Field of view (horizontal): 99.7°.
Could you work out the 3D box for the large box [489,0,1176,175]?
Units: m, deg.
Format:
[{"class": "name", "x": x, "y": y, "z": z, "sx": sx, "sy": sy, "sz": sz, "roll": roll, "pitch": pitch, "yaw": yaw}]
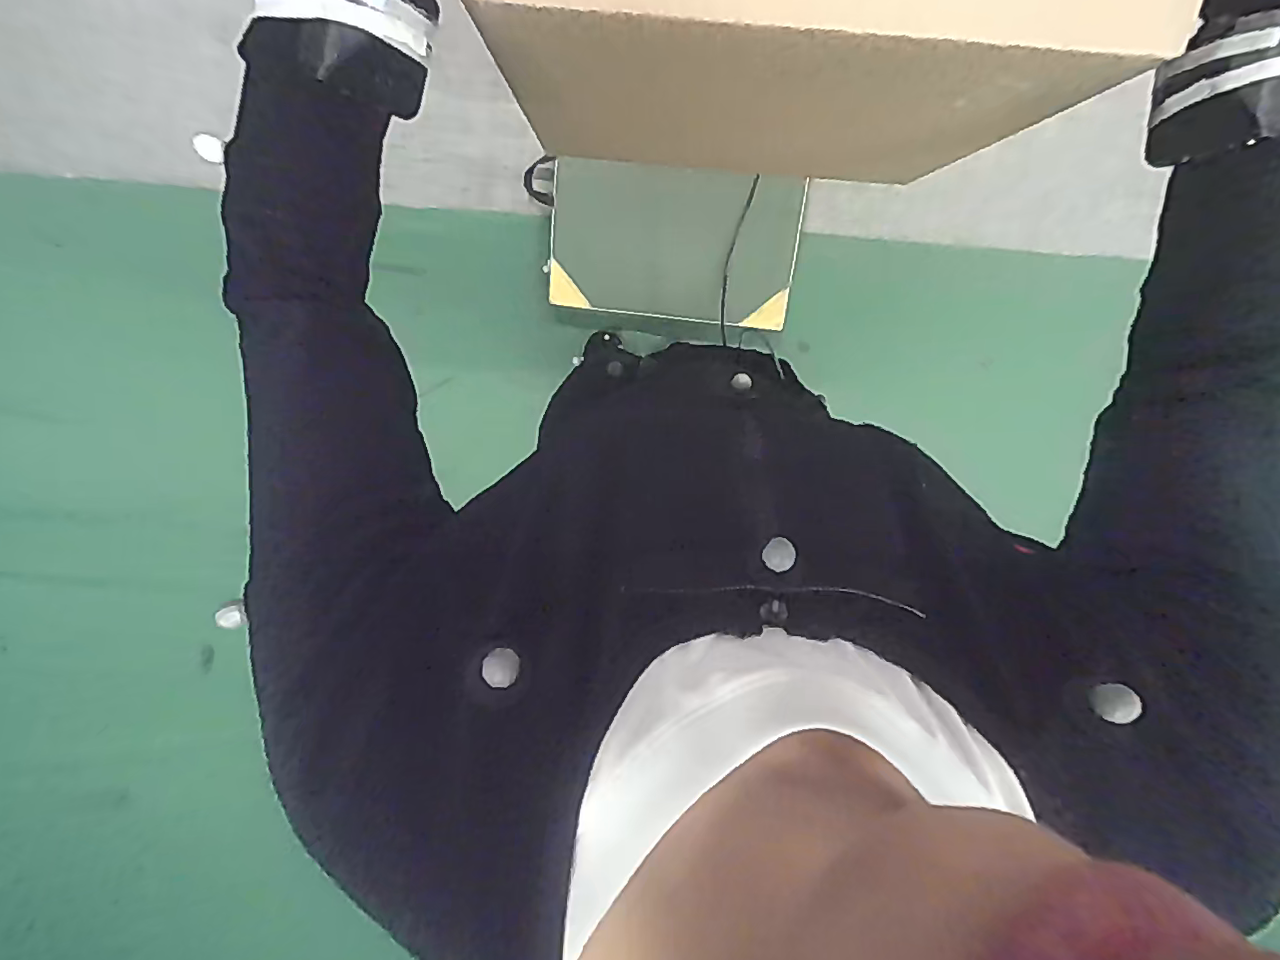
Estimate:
[{"class": "large box", "x": 0.109, "y": -0.446, "z": 0.406, "sx": 0.408, "sy": 0.320, "sz": 0.320, "roll": 3, "pitch": 107, "yaw": -3}]
